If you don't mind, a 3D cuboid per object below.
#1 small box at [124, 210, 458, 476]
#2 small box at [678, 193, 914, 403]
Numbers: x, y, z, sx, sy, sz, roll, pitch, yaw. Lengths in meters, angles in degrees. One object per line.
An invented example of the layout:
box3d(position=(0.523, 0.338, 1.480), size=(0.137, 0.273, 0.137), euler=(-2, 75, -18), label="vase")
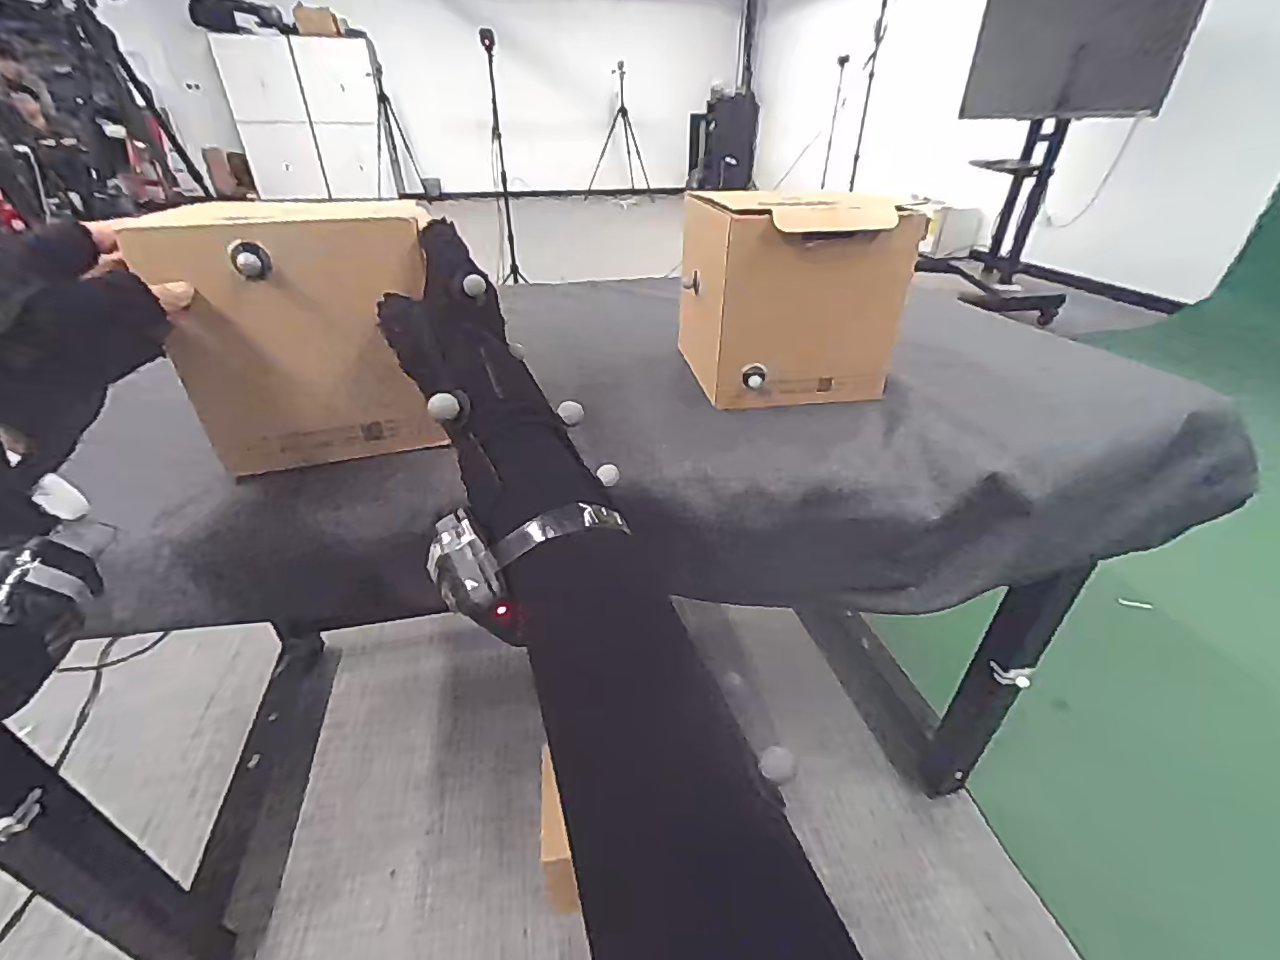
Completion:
box3d(position=(-0.251, -0.122, 0.445), size=(0.168, 0.176, 0.179), euler=(-11, 32, -15), label="small box")
box3d(position=(0.134, -0.182, 0.540), size=(0.168, 0.176, 0.179), euler=(-4, 32, -6), label="small box")
